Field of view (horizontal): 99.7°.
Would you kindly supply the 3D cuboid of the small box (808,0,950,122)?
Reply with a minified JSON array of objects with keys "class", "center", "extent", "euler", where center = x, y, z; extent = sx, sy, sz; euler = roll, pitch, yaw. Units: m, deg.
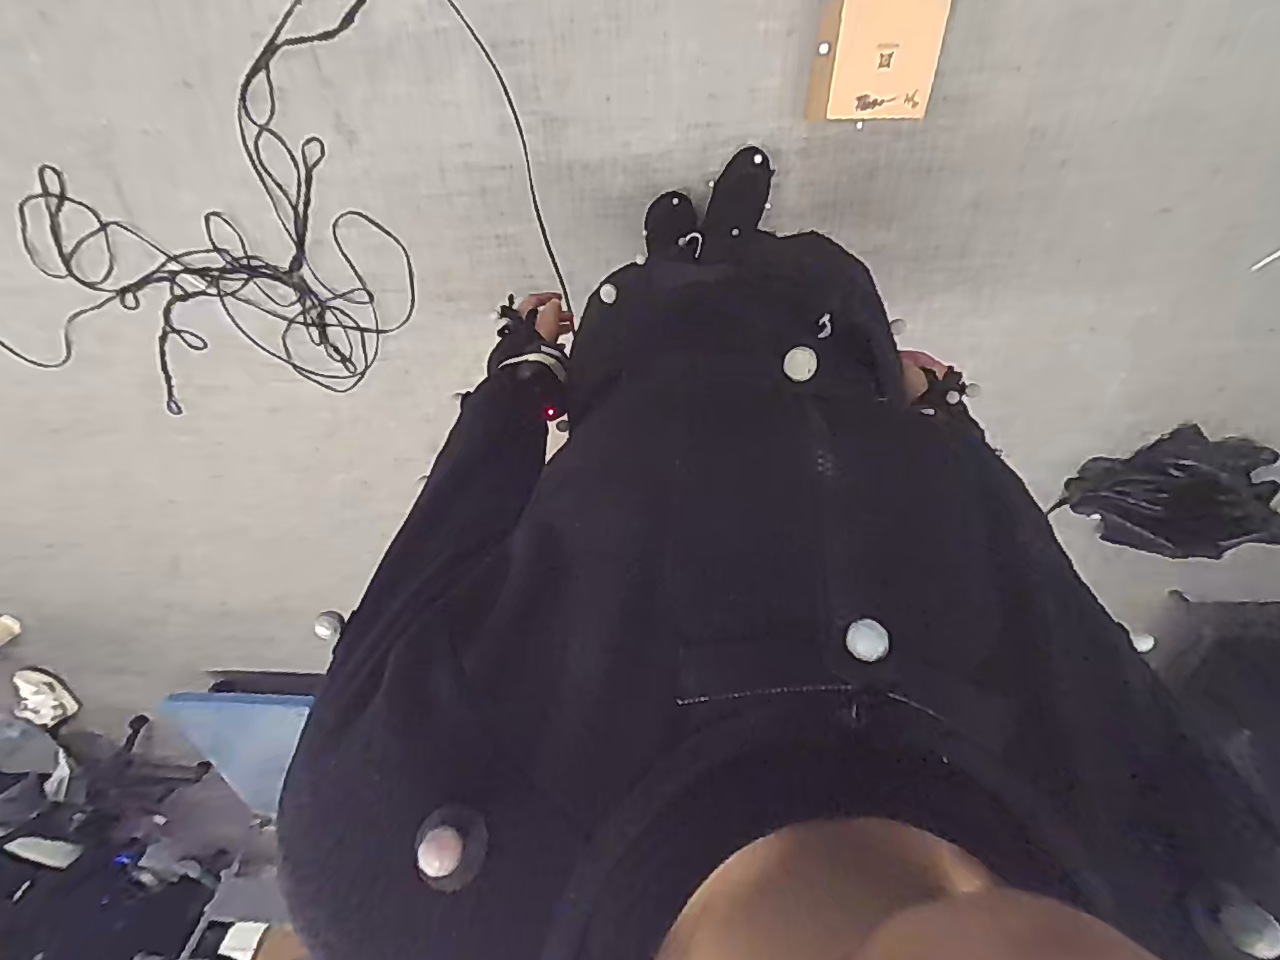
[{"class":"small box","center":[0.398,-0.727,0.933],"extent":[0.168,0.176,0.179],"euler":[1,122,3]}]
